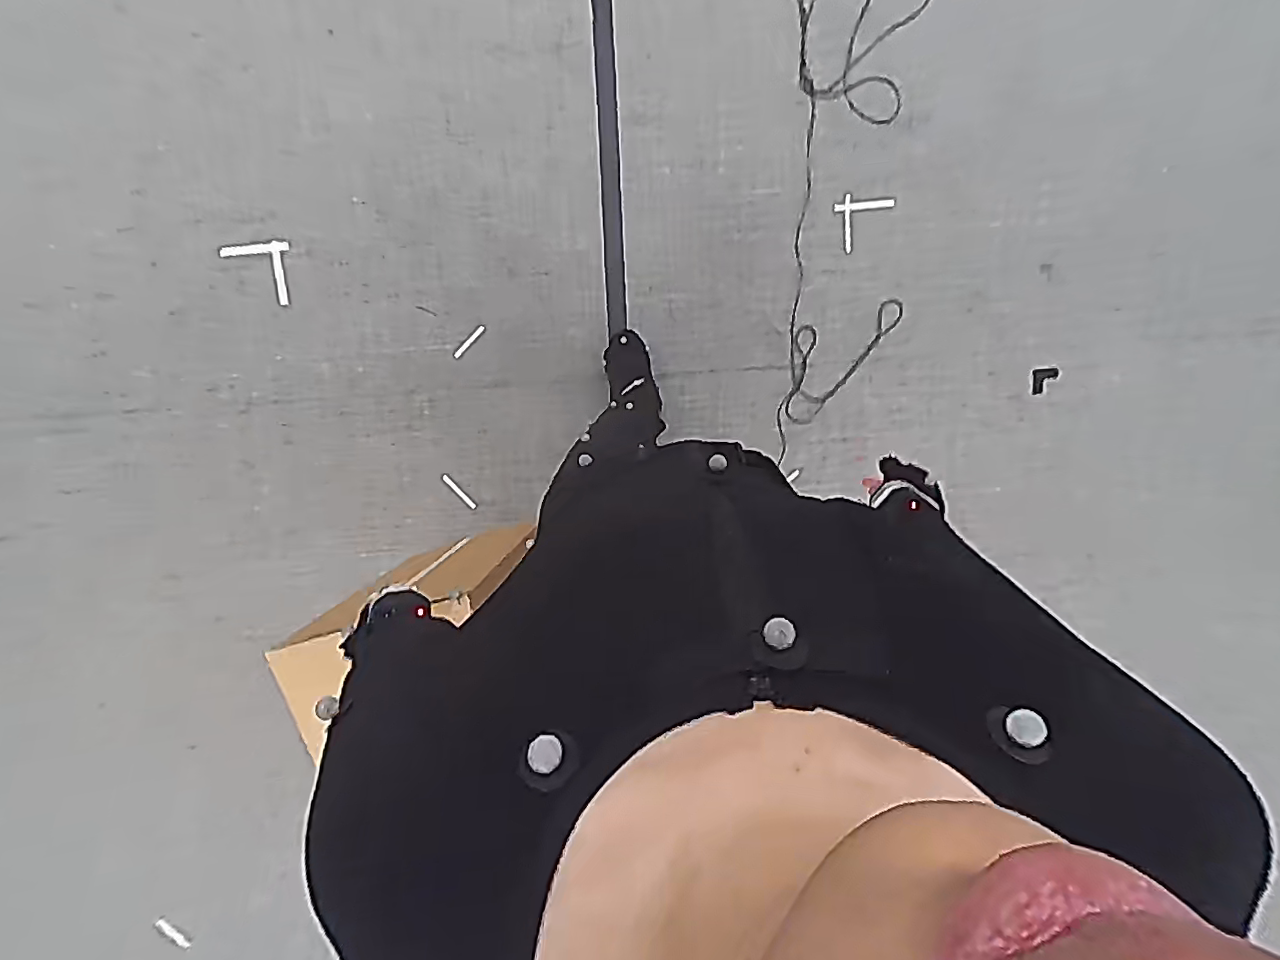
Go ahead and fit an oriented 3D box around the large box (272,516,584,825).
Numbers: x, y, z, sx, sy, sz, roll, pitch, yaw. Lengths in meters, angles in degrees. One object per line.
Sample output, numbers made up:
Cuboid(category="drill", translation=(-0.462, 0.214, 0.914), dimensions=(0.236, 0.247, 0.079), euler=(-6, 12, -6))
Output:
Cuboid(category="large box", translation=(-0.312, 0.291, 0.944), dimensions=(0.320, 0.408, 0.320), euler=(-18, 99, 7))
